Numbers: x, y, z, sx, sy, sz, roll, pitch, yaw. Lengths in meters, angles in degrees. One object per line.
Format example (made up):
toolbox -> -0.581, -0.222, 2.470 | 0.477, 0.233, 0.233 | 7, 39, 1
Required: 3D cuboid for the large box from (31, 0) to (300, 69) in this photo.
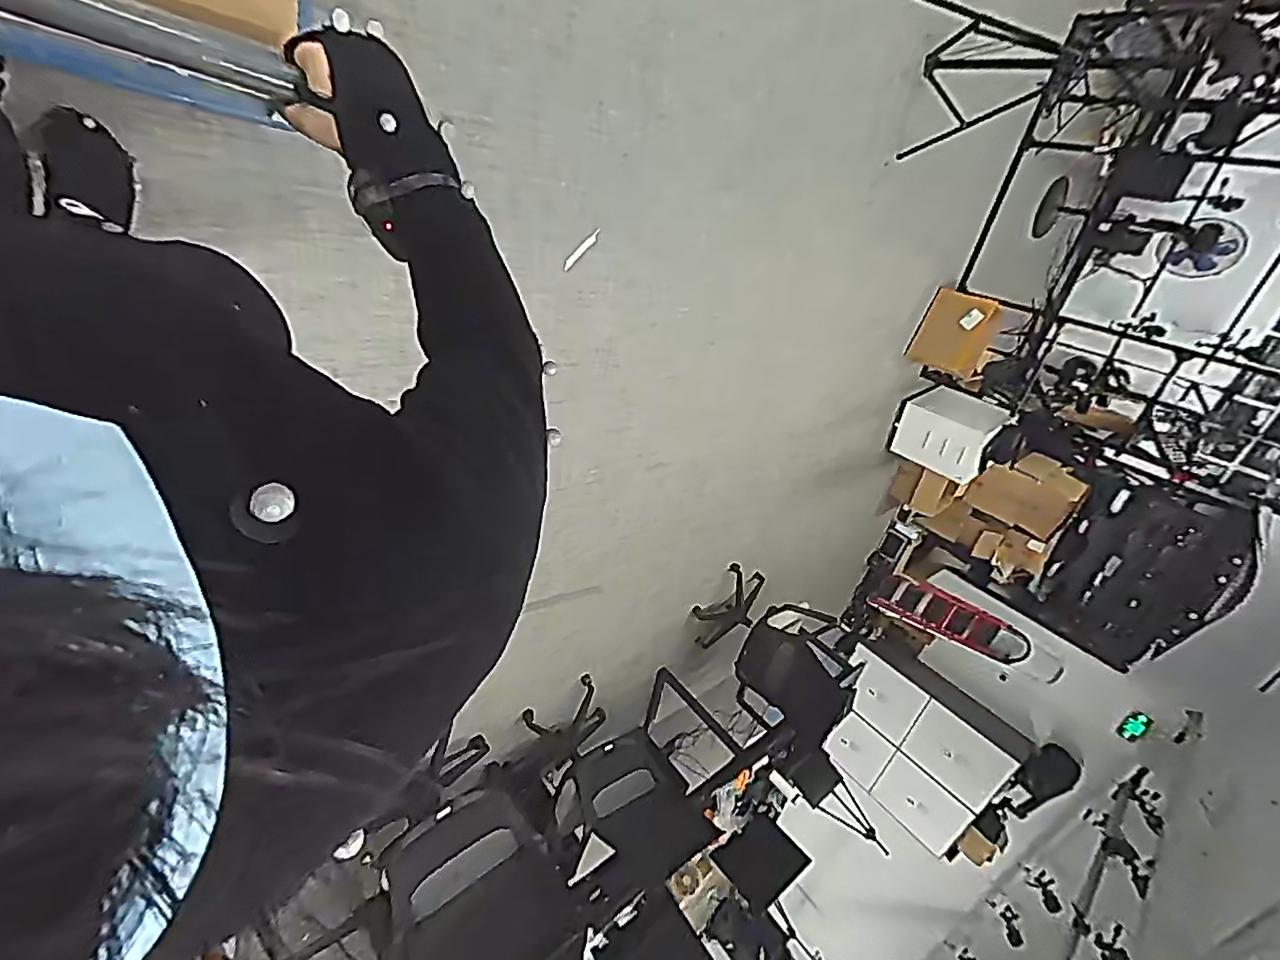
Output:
large box -> -0.652, -0.716, 0.603 | 0.408, 0.320, 0.320 | -9, 125, -43
